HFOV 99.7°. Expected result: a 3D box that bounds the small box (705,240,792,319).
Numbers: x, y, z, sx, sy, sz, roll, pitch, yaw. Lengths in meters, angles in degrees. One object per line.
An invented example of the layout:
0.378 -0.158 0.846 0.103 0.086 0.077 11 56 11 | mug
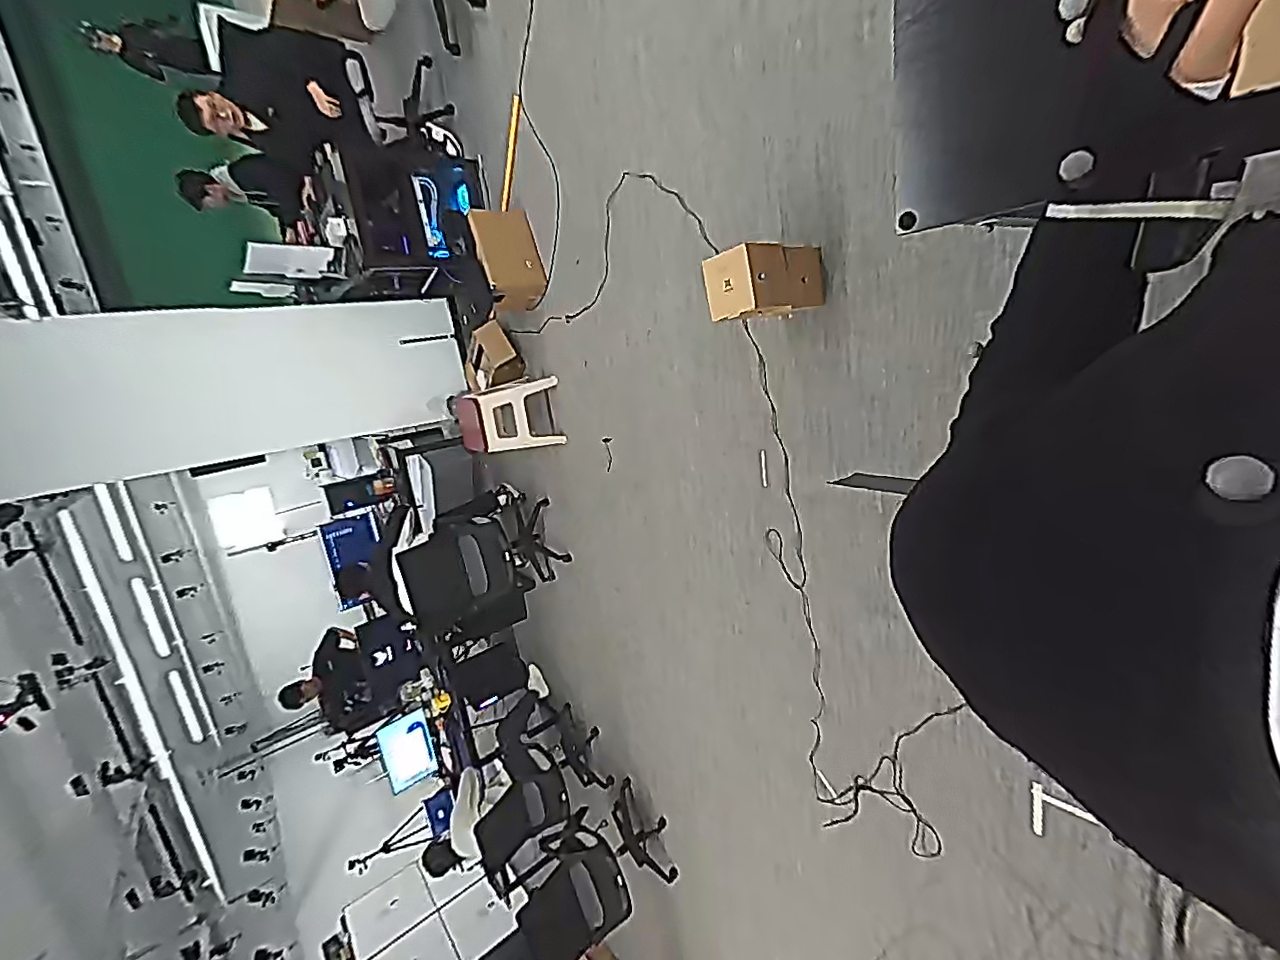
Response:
0.314 -0.571 1.545 0.168 0.176 0.179 0 103 52 | small box

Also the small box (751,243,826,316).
0.442 -0.605 1.640 0.168 0.176 0.179 6 109 52 | small box
